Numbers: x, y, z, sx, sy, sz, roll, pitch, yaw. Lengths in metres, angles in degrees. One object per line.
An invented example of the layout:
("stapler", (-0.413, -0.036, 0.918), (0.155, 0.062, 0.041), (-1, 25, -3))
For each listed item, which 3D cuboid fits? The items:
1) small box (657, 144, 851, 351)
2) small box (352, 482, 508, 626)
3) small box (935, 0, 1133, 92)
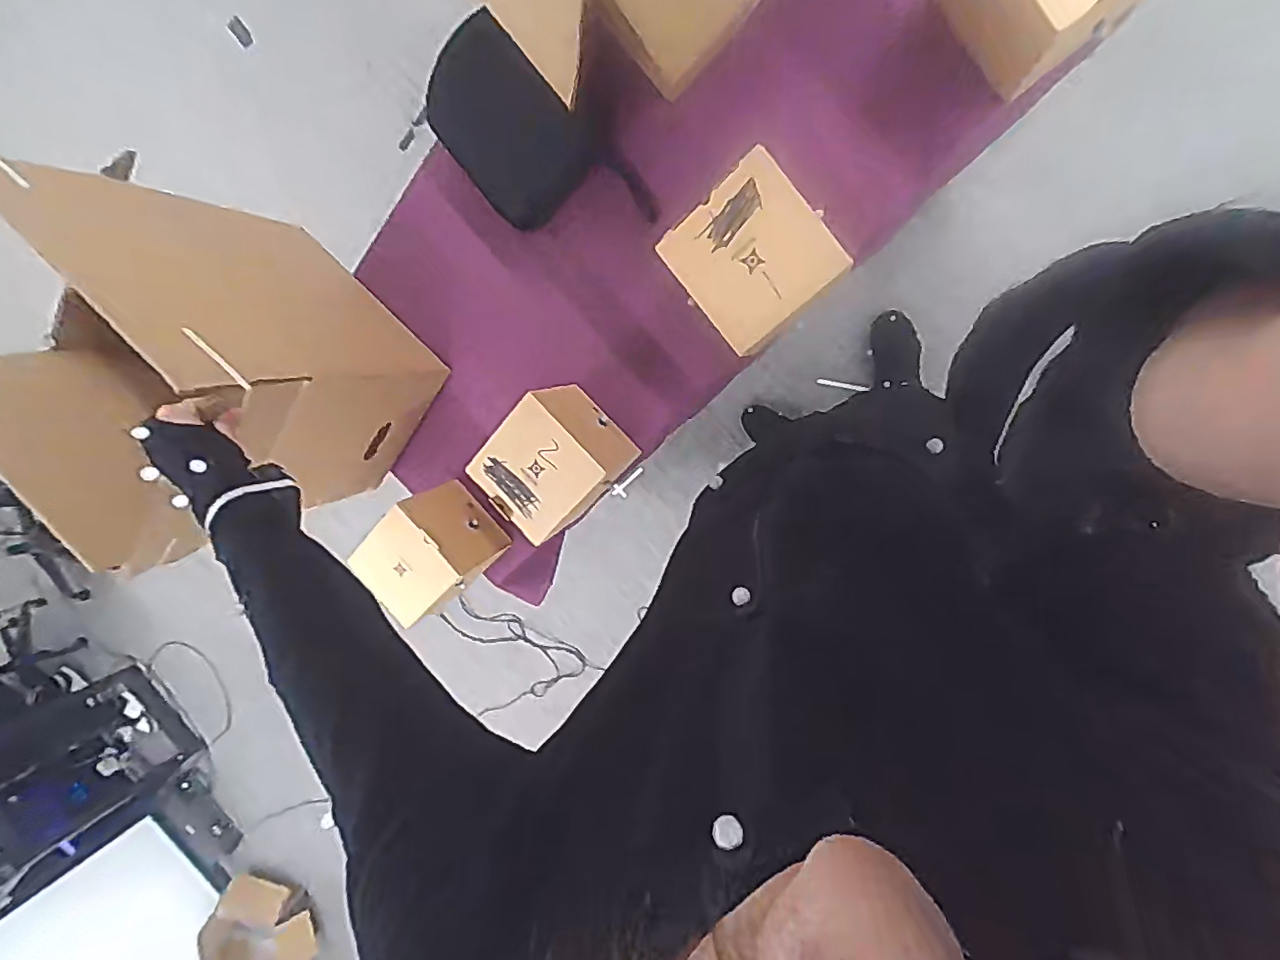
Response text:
("small box", (0.153, -0.289, 0.716), (0.168, 0.176, 0.179), (-38, 91, 24))
("small box", (-0.380, 0.130, 1.003), (0.179, 0.176, 0.168), (-43, 88, 22))
("small box", (0.427, -0.555, 0.552), (0.168, 0.176, 0.179), (-35, 91, 24))
